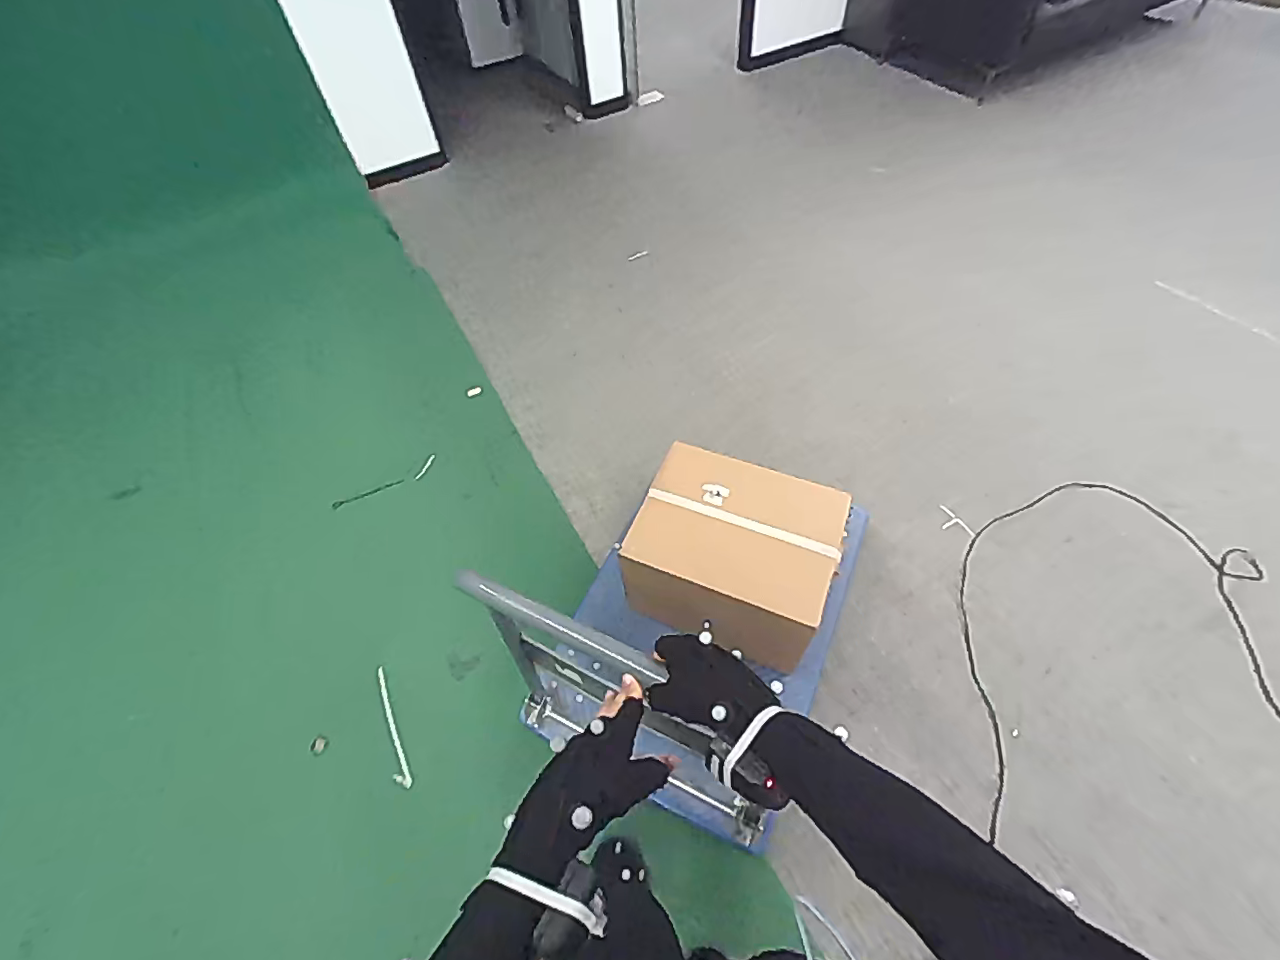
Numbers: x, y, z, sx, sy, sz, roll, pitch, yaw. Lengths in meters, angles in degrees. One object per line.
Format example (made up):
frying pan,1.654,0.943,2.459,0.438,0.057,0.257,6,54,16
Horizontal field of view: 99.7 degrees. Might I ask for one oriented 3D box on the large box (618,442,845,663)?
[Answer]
large box,0.206,0.168,1.236,0.408,0.320,0.320,18,58,16
